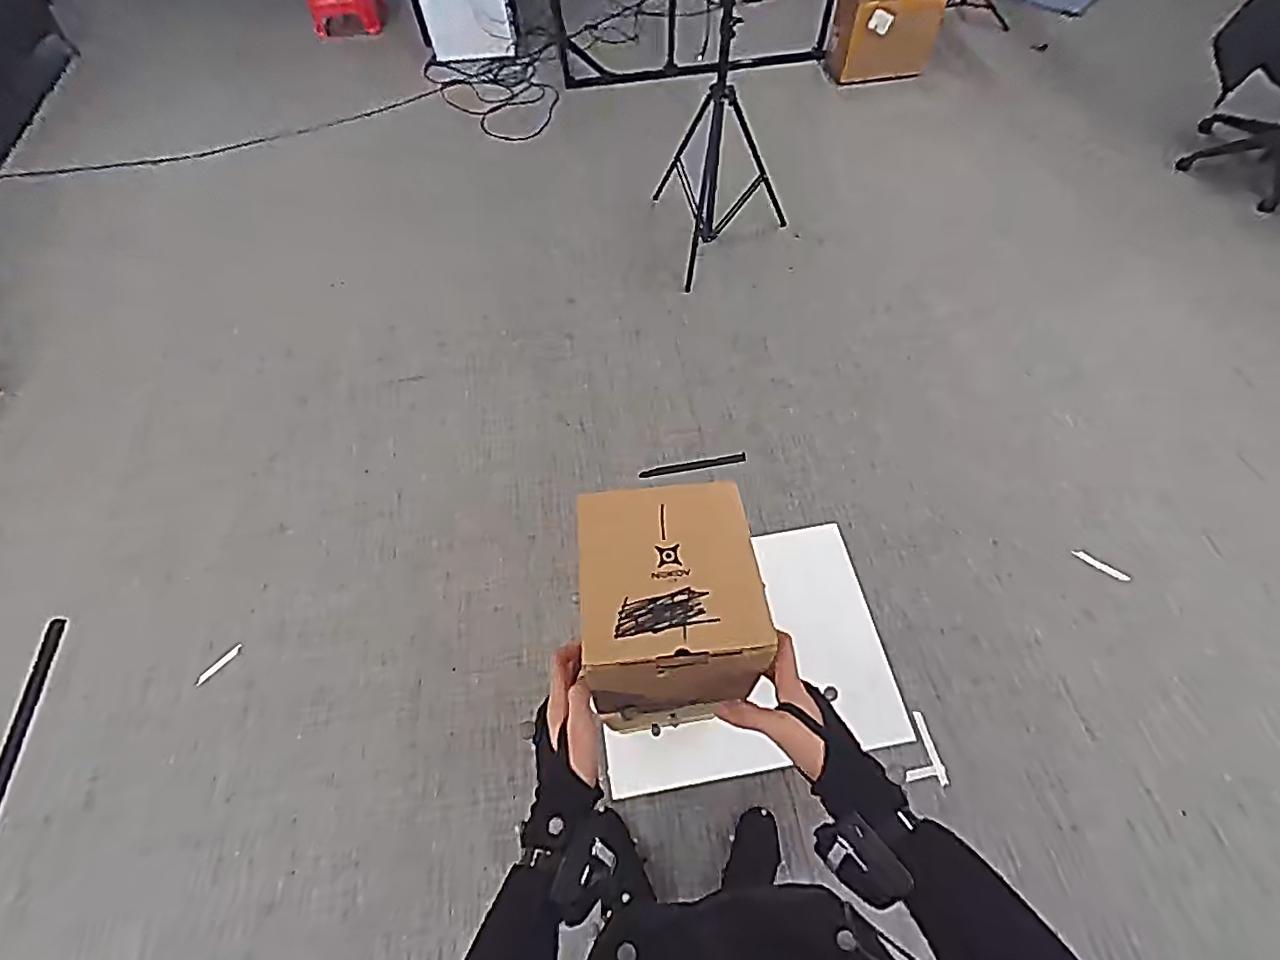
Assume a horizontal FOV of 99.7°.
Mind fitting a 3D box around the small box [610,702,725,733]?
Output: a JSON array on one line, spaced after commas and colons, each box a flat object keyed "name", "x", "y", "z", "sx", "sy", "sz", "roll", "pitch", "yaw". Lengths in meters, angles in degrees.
[{"name": "small box", "x": 0.034, "y": 0.304, "z": 0.874, "sx": 0.168, "sy": 0.176, "sz": 0.179, "roll": -8, "pitch": 62, "yaw": -3}]

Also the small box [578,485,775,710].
[{"name": "small box", "x": 0.028, "y": 0.129, "z": 0.560, "sx": 0.168, "sy": 0.176, "sz": 0.179, "roll": -5, "pitch": 54, "yaw": -3}]
